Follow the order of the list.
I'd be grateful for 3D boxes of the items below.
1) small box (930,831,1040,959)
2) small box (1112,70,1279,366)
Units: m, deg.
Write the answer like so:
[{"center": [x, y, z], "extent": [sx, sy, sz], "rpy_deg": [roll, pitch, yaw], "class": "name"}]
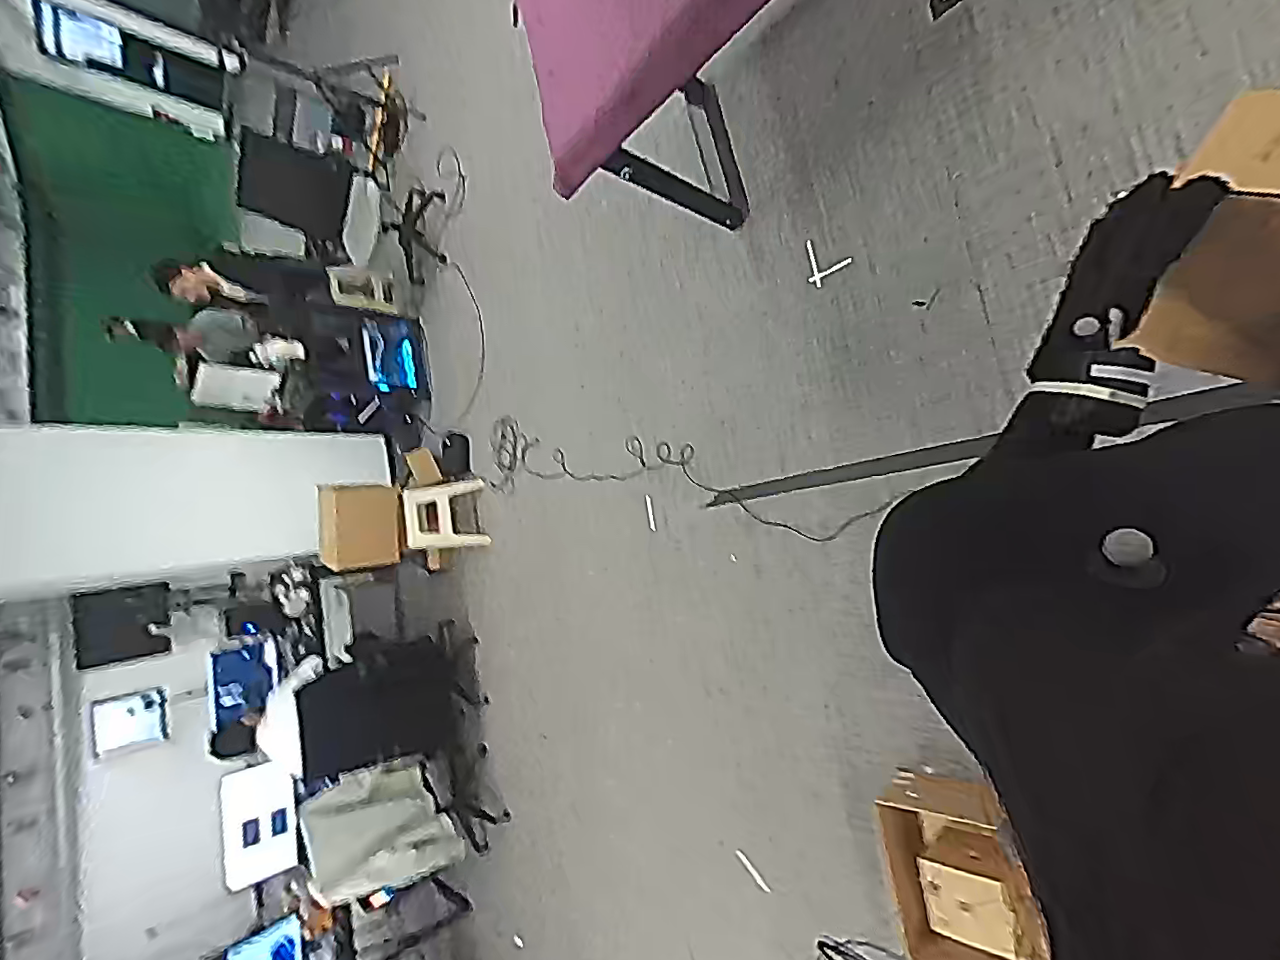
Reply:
[{"center": [0.814, 0.961, 1.267], "extent": [0.179, 0.176, 0.168], "rpy_deg": [-15, 80, 44], "class": "small box"}, {"center": [0.555, -0.215, 0.454], "extent": [0.179, 0.168, 0.176], "rpy_deg": [28, 156, 38], "class": "small box"}]
